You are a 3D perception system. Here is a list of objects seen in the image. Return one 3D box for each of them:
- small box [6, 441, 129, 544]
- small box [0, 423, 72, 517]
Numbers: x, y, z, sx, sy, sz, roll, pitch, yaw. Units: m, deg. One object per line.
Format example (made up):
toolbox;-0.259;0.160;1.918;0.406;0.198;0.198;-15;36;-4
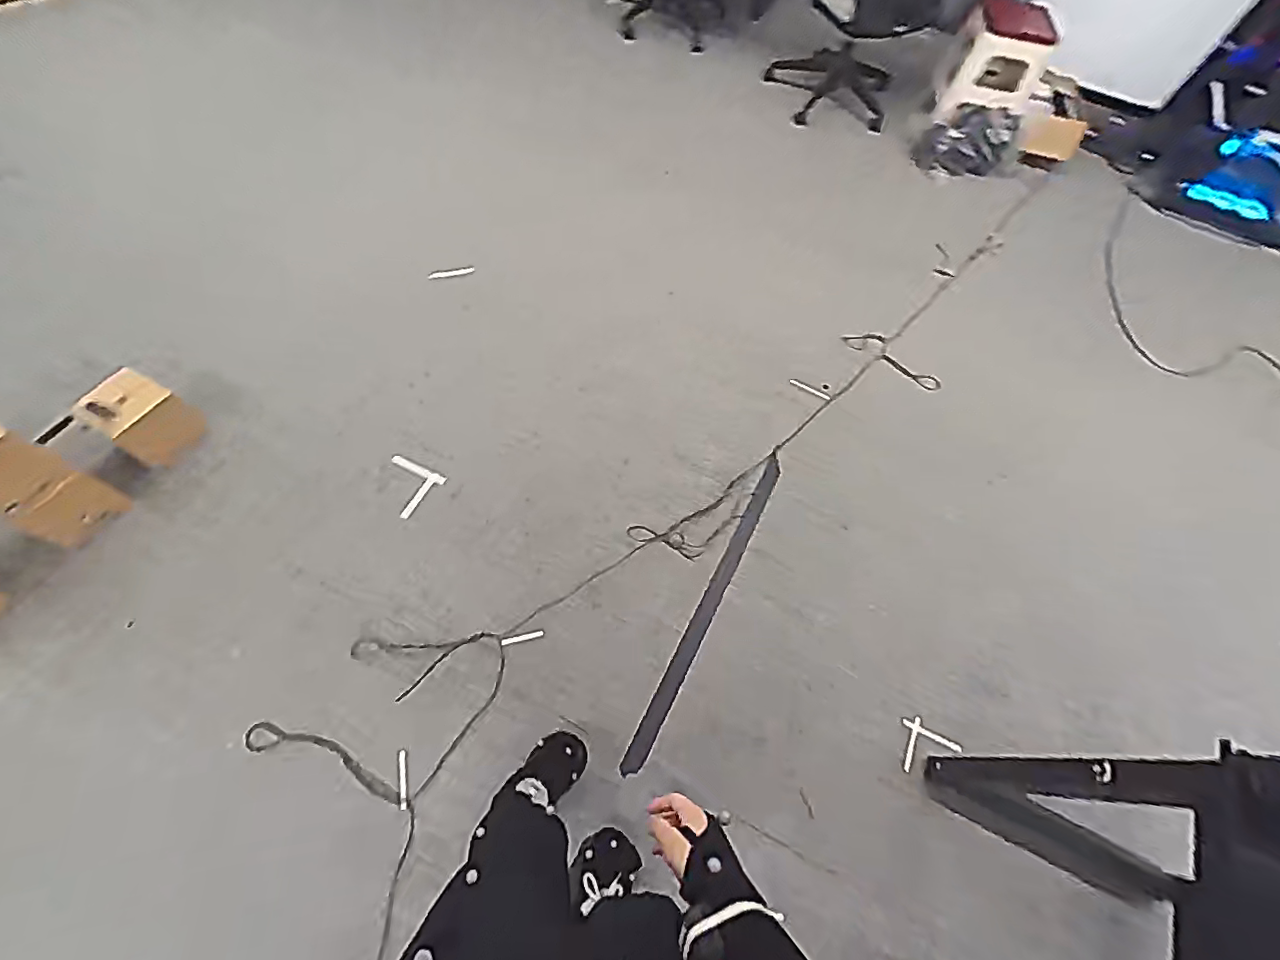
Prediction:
small box;-1.472;0.038;1.361;0.179;0.176;0.168;29;65;9
small box;-1.468;-0.037;1.215;0.179;0.176;0.168;26;63;8
